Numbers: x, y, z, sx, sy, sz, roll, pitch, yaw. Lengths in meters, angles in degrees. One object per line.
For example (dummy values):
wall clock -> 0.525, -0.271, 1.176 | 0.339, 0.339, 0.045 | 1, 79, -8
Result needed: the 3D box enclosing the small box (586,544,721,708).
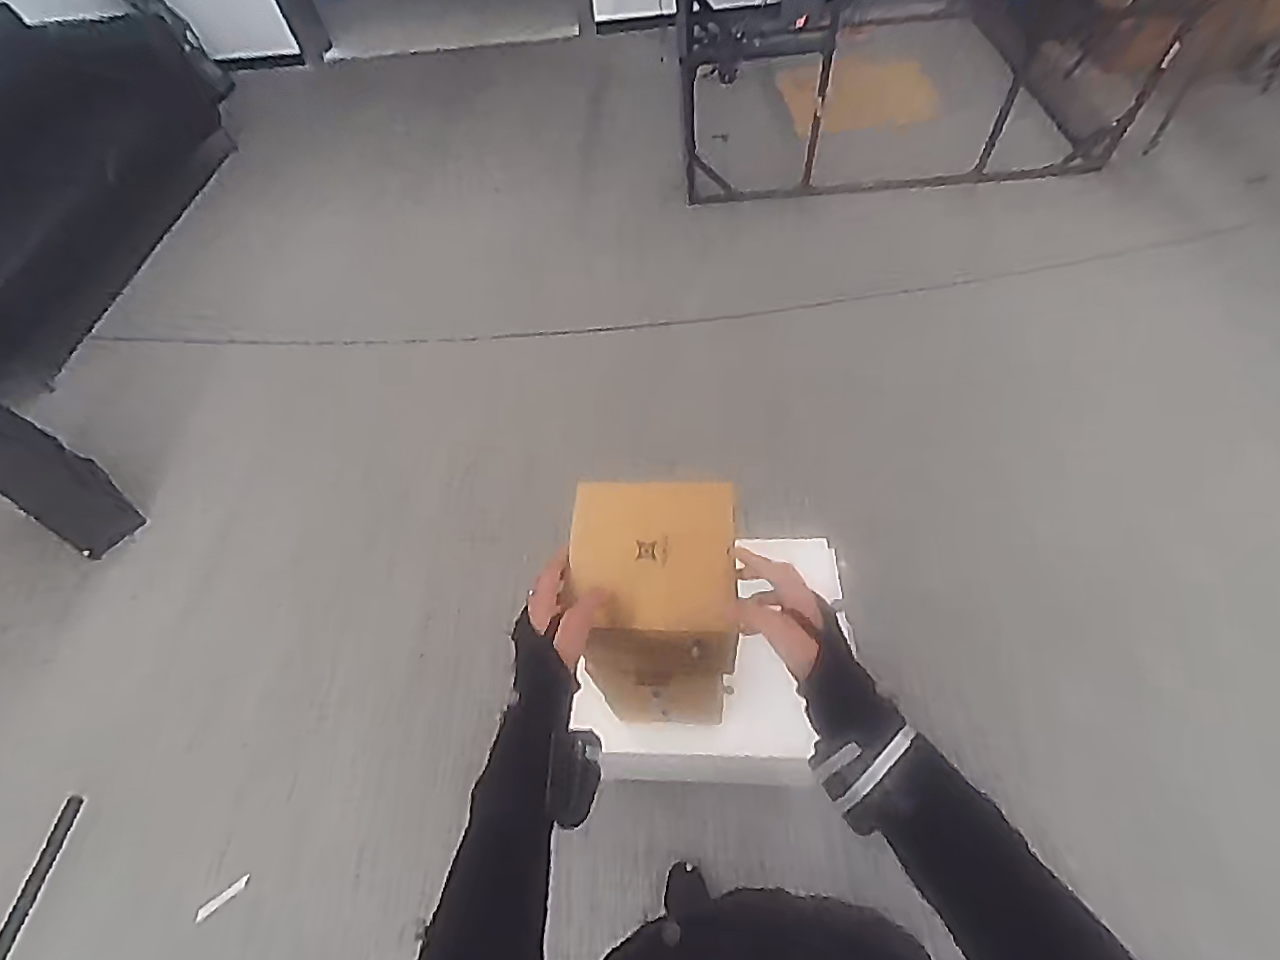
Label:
small box -> 0.029, 0.206, 0.759 | 0.168, 0.176, 0.179 | 0, 57, 8
